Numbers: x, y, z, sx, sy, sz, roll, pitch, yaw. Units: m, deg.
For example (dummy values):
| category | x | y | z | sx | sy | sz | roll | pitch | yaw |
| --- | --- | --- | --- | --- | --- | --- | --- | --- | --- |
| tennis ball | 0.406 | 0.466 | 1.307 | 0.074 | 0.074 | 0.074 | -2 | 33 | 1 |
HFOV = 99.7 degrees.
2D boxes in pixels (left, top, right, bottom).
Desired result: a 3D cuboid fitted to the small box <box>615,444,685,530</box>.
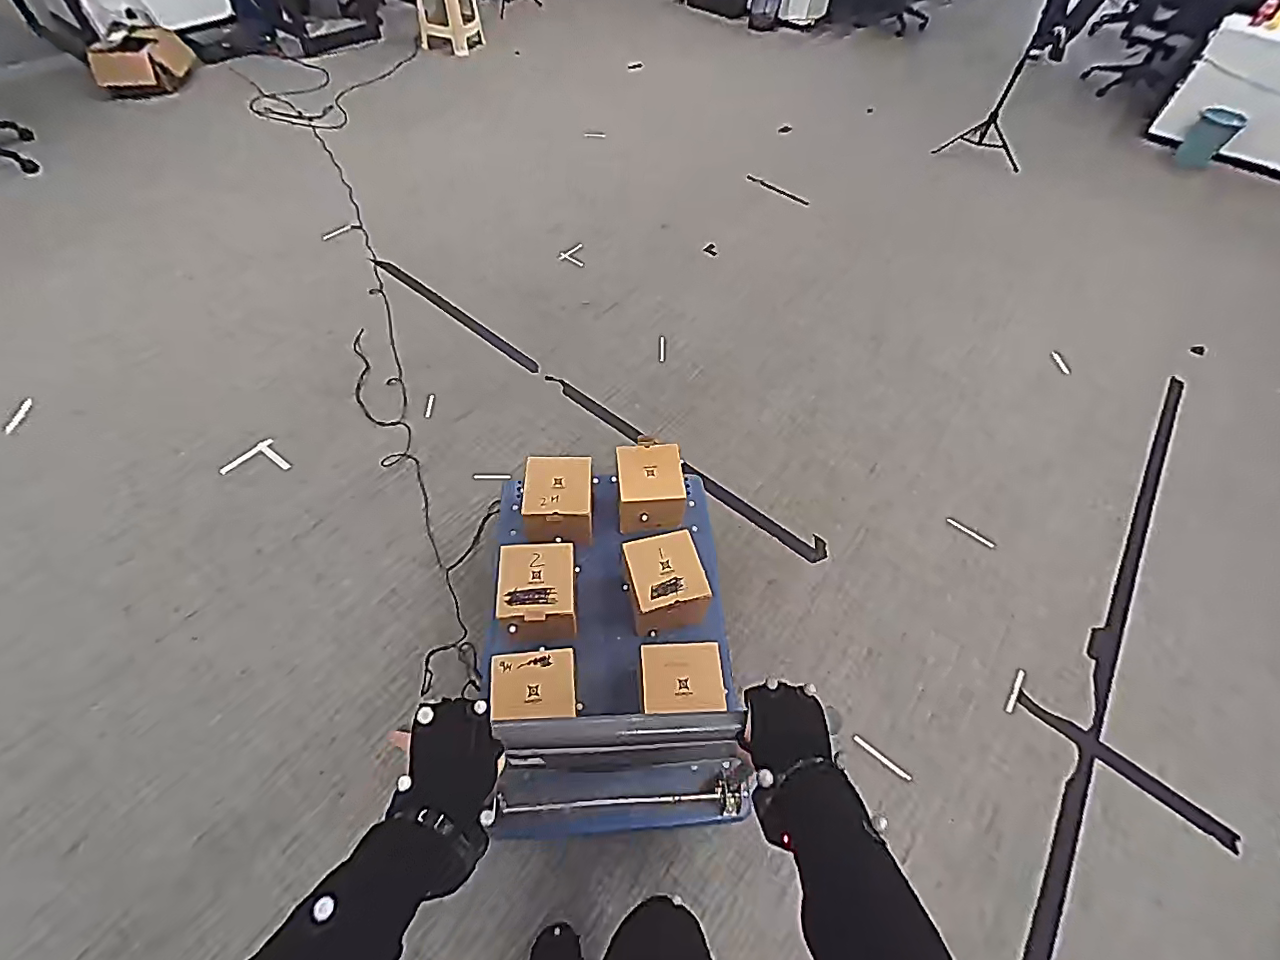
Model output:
| category | x | y | z | sx | sy | sz | roll | pitch | yaw |
| --- | --- | --- | --- | --- | --- | --- | --- | --- | --- |
| small box | 0.022 | 0.026 | 1.455 | 0.168 | 0.176 | 0.179 | -3 | 55 | -6 |

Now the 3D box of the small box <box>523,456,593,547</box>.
| category | x | y | z | sx | sy | sz | roll | pitch | yaw |
| --- | --- | --- | --- | --- | --- | --- | --- | --- | --- |
| small box | -0.207 | 0.058 | 1.414 | 0.168 | 0.176 | 0.179 | 1 | 56 | -3 |

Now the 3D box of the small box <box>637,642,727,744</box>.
| category | x | y | z | sx | sy | sz | roll | pitch | yaw |
| --- | --- | --- | --- | --- | --- | --- | --- | --- | --- |
| small box | 0.082 | 0.460 | 1.157 | 0.168 | 0.176 | 0.179 | 0 | 54 | -5 |

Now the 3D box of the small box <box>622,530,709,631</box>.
| category | x | y | z | sx | sy | sz | roll | pitch | yaw |
| --- | --- | --- | --- | --- | --- | --- | --- | --- | --- |
| small box | 0.054 | 0.248 | 1.301 | 0.168 | 0.176 | 0.179 | -11 | 56 | -11 |

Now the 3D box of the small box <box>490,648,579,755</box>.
| category | x | y | z | sx | sy | sz | roll | pitch | yaw |
| --- | --- | --- | --- | --- | --- | --- | --- | --- | --- |
| small box | -0.214 | 0.466 | 1.127 | 0.168 | 0.176 | 0.179 | -3 | 56 | -8 |
